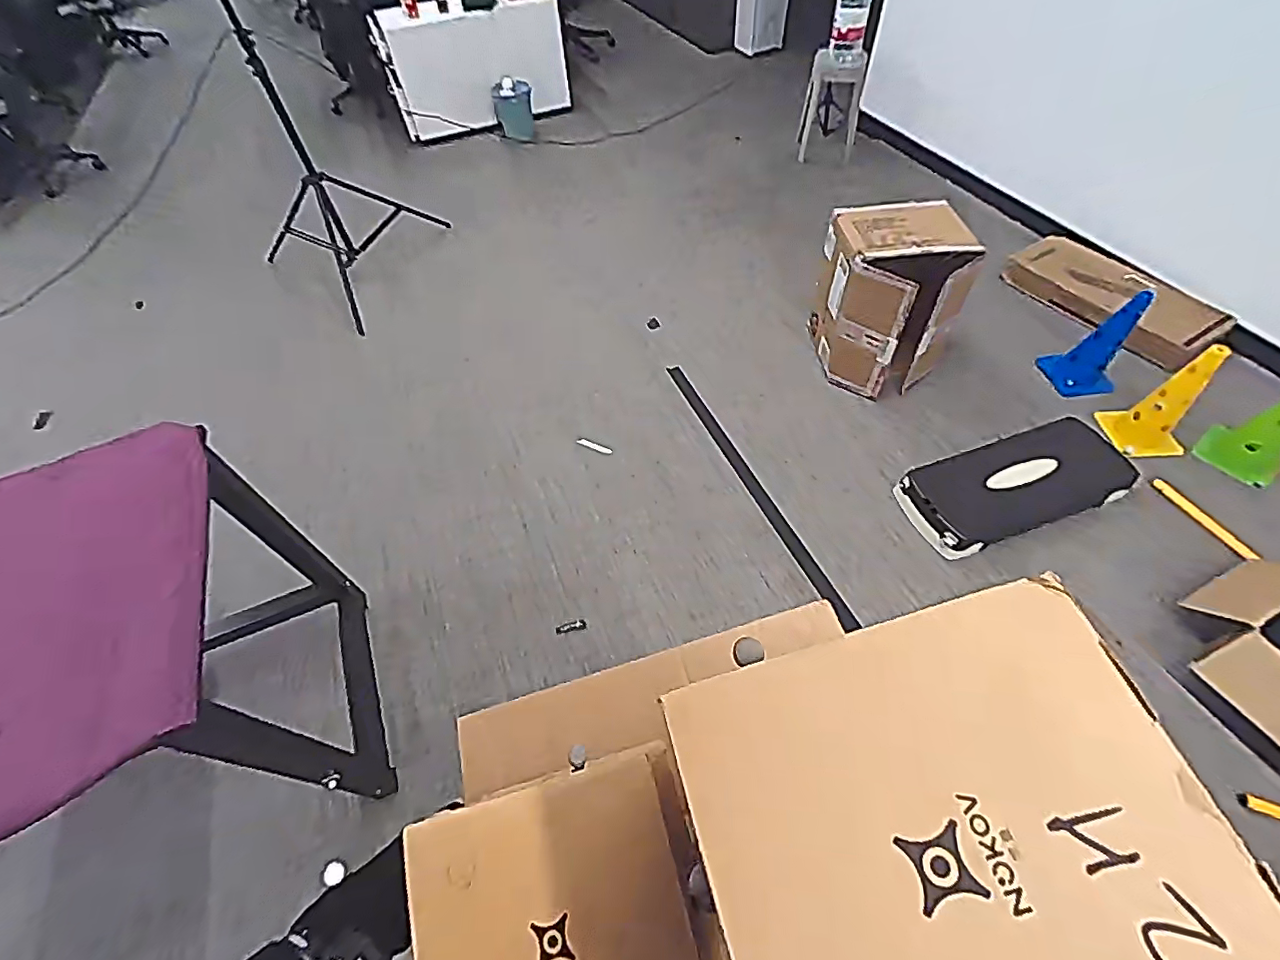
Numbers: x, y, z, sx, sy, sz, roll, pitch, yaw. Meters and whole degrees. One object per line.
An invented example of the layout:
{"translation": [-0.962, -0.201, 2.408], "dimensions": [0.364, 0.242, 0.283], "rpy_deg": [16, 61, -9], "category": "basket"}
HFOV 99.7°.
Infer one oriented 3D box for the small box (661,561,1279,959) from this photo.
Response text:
{"translation": [0.123, 0.162, 0.252], "dimensions": [0.179, 0.176, 0.168], "rpy_deg": [-17, 61, 0], "category": "small box"}
